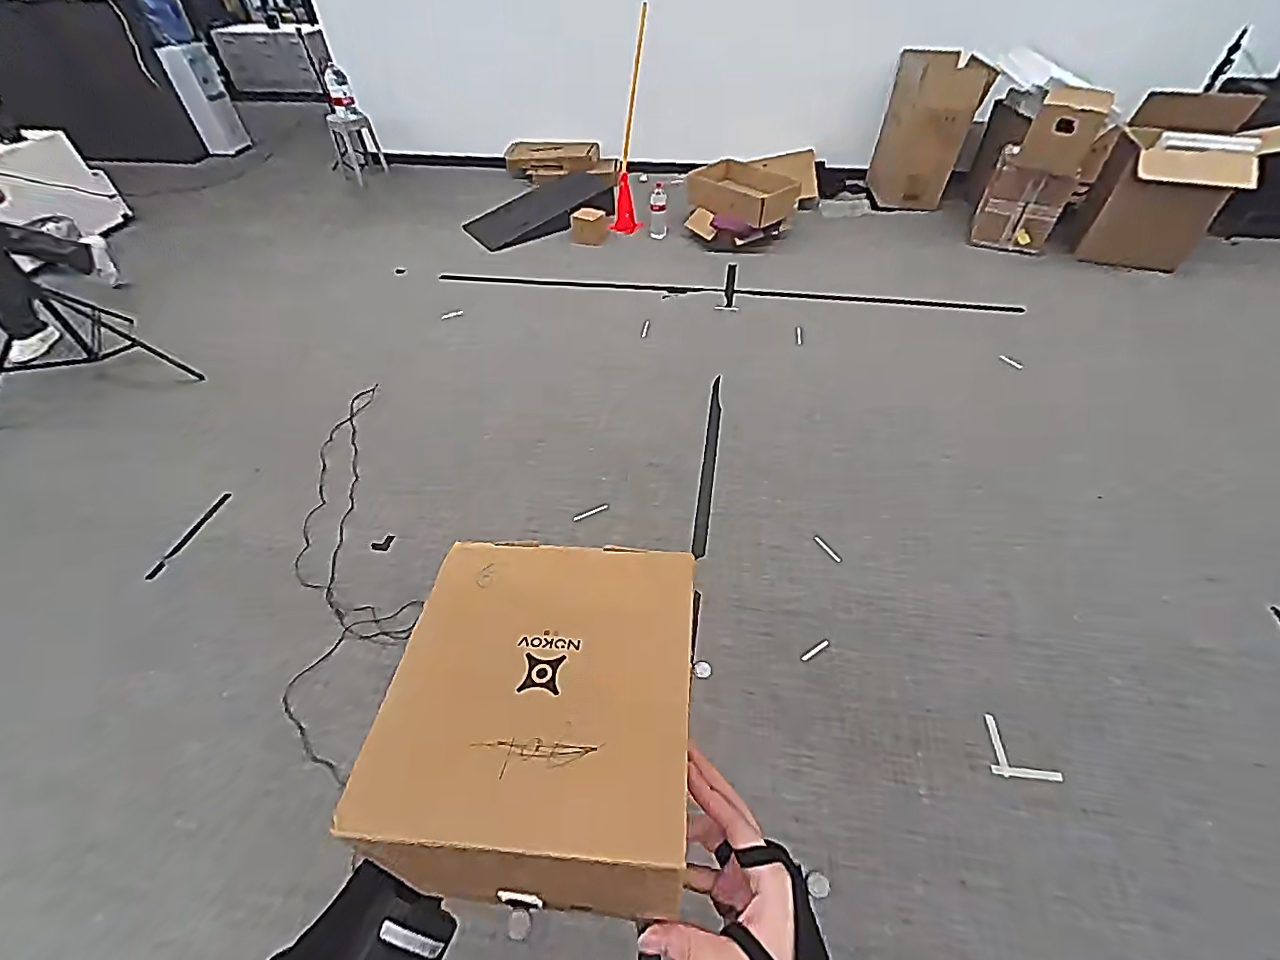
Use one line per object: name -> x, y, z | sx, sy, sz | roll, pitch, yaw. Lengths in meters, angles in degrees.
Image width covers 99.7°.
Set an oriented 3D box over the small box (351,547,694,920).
small box -> -0.051, 0.168, 0.368 | 0.168, 0.176, 0.179 | 2, 44, 5
